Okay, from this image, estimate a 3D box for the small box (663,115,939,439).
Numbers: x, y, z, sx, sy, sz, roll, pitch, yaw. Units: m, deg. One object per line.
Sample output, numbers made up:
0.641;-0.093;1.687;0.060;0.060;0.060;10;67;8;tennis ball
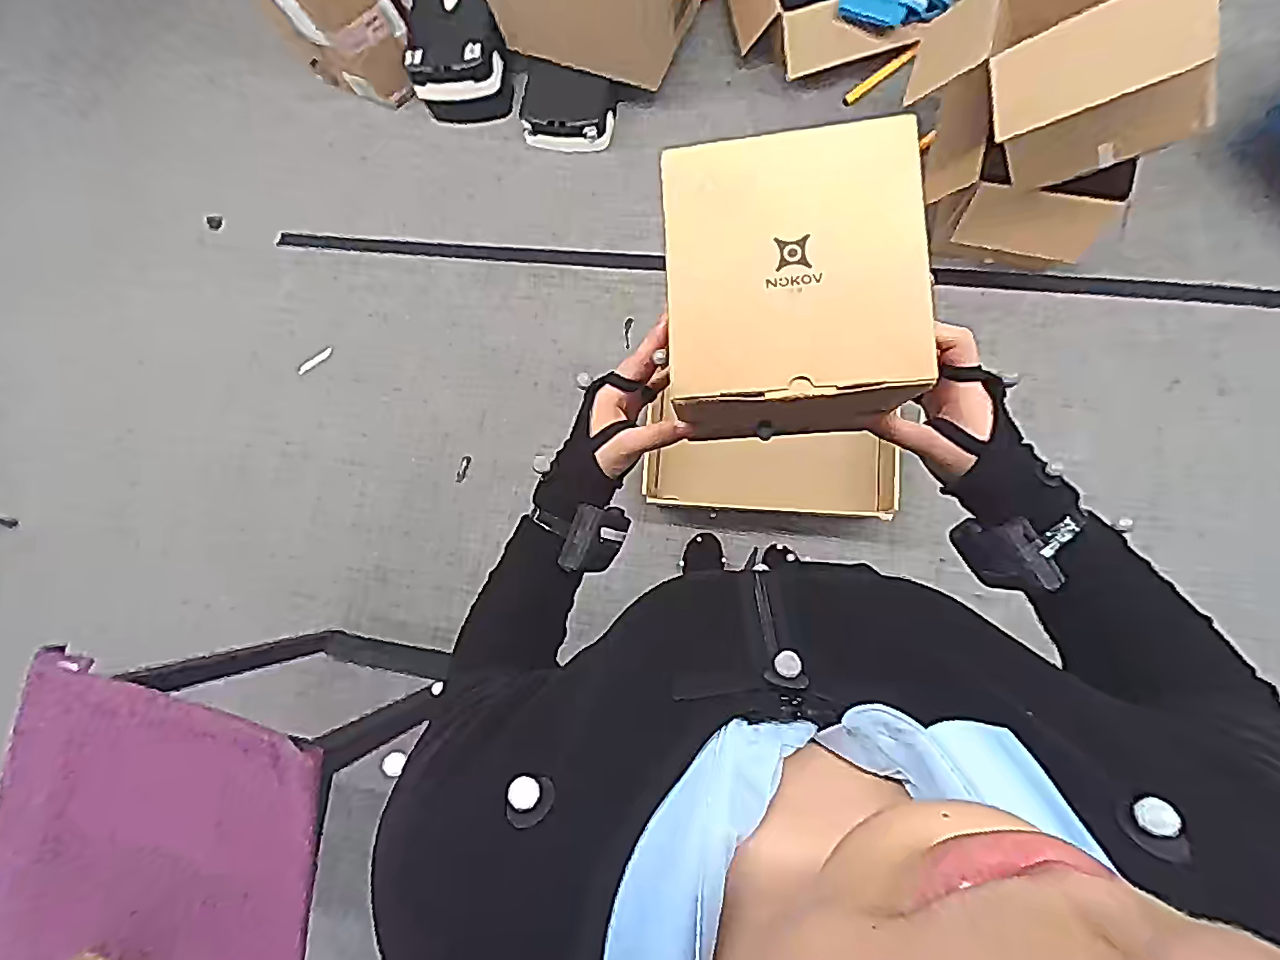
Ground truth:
0.109;-0.136;0.426;0.168;0.176;0.179;-4;85;8;small box
